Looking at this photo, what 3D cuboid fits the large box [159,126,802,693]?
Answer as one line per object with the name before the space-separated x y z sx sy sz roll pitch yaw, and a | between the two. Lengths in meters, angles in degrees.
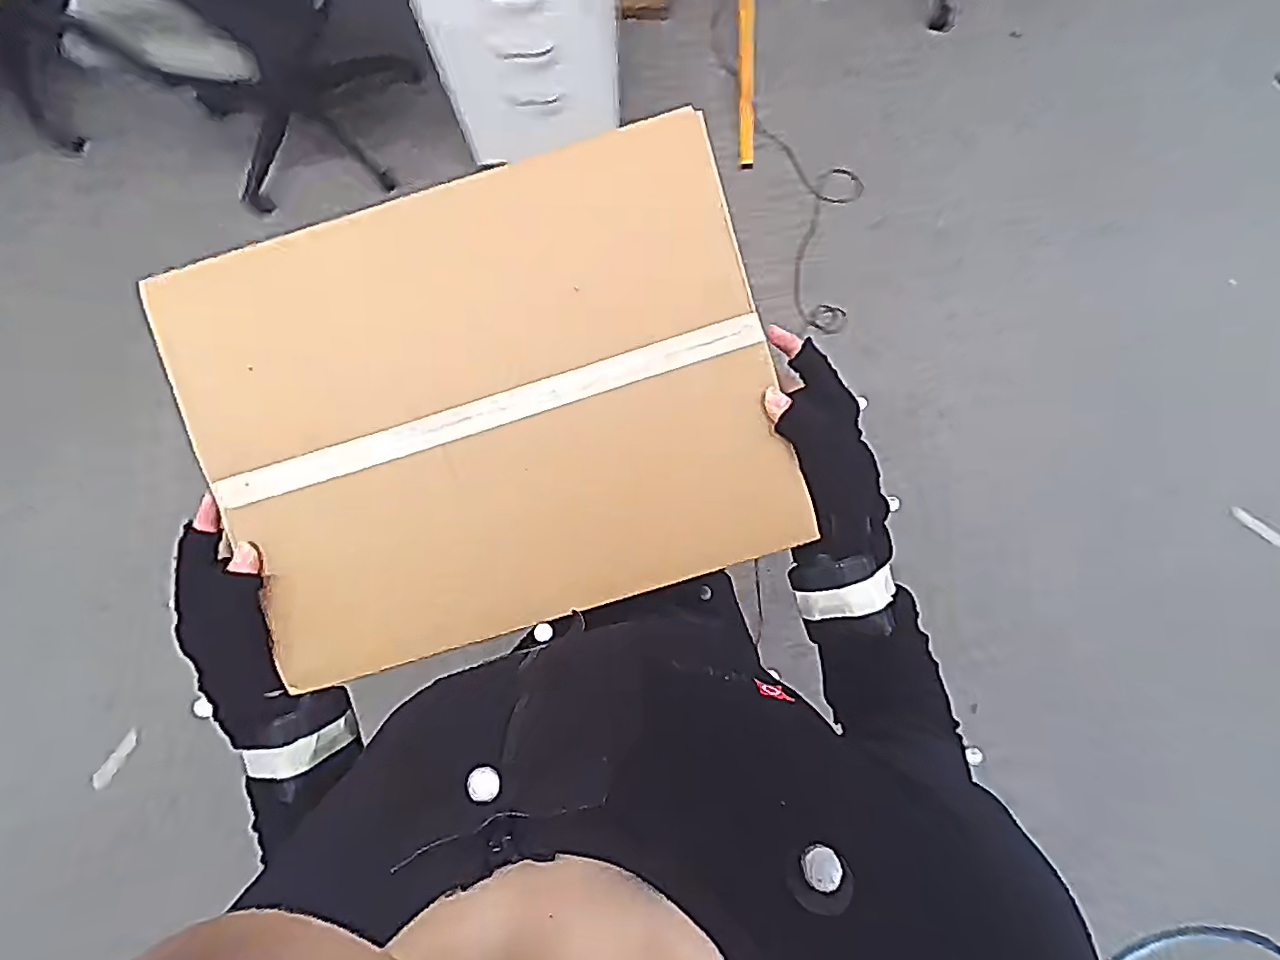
large box | -0.111 -0.057 0.542 0.408 0.320 0.320 -18 94 1
